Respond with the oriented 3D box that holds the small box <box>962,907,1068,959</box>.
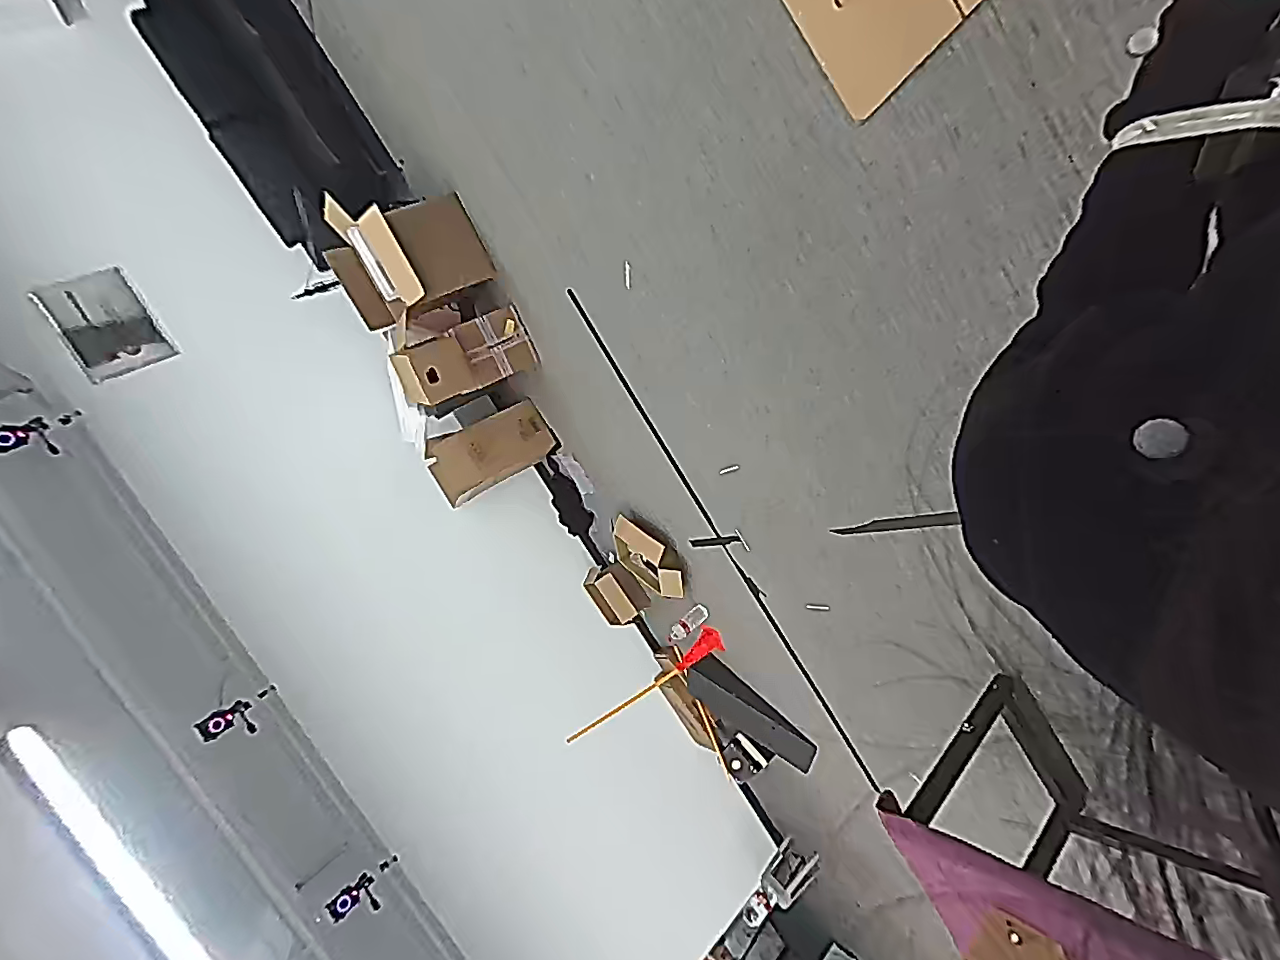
[{"bbox_3d":[0.952,1.233,1.341,0.179,0.176,0.168,60,153,-7],"label":"small box"}]
